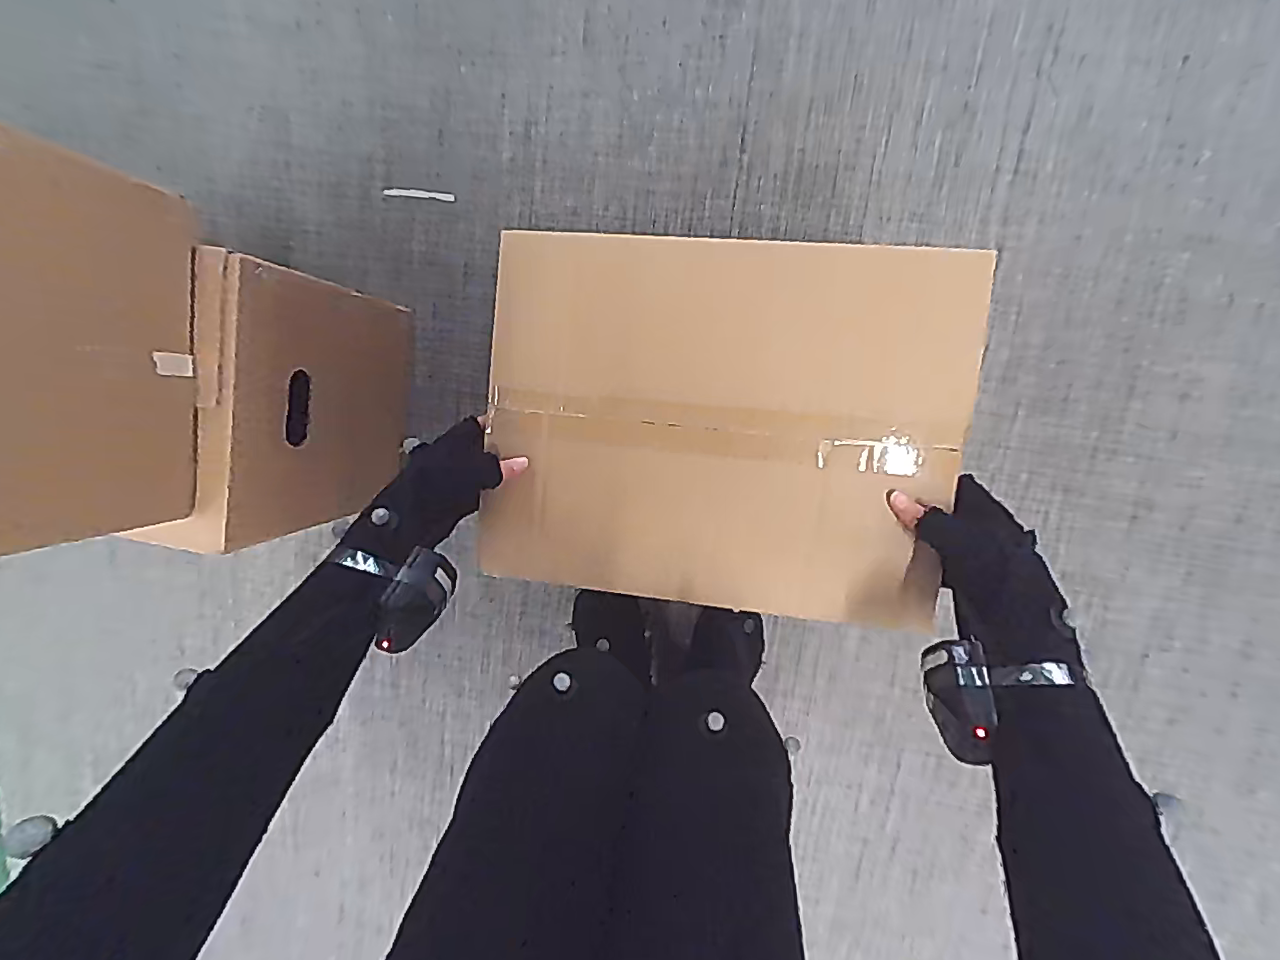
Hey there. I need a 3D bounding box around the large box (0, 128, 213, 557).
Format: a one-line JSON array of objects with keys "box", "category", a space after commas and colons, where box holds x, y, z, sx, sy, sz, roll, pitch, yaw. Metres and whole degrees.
[{"box": [-0.643, -0.118, 0.411, 0.408, 0.320, 0.320, 8, 97, 6], "category": "large box"}]
